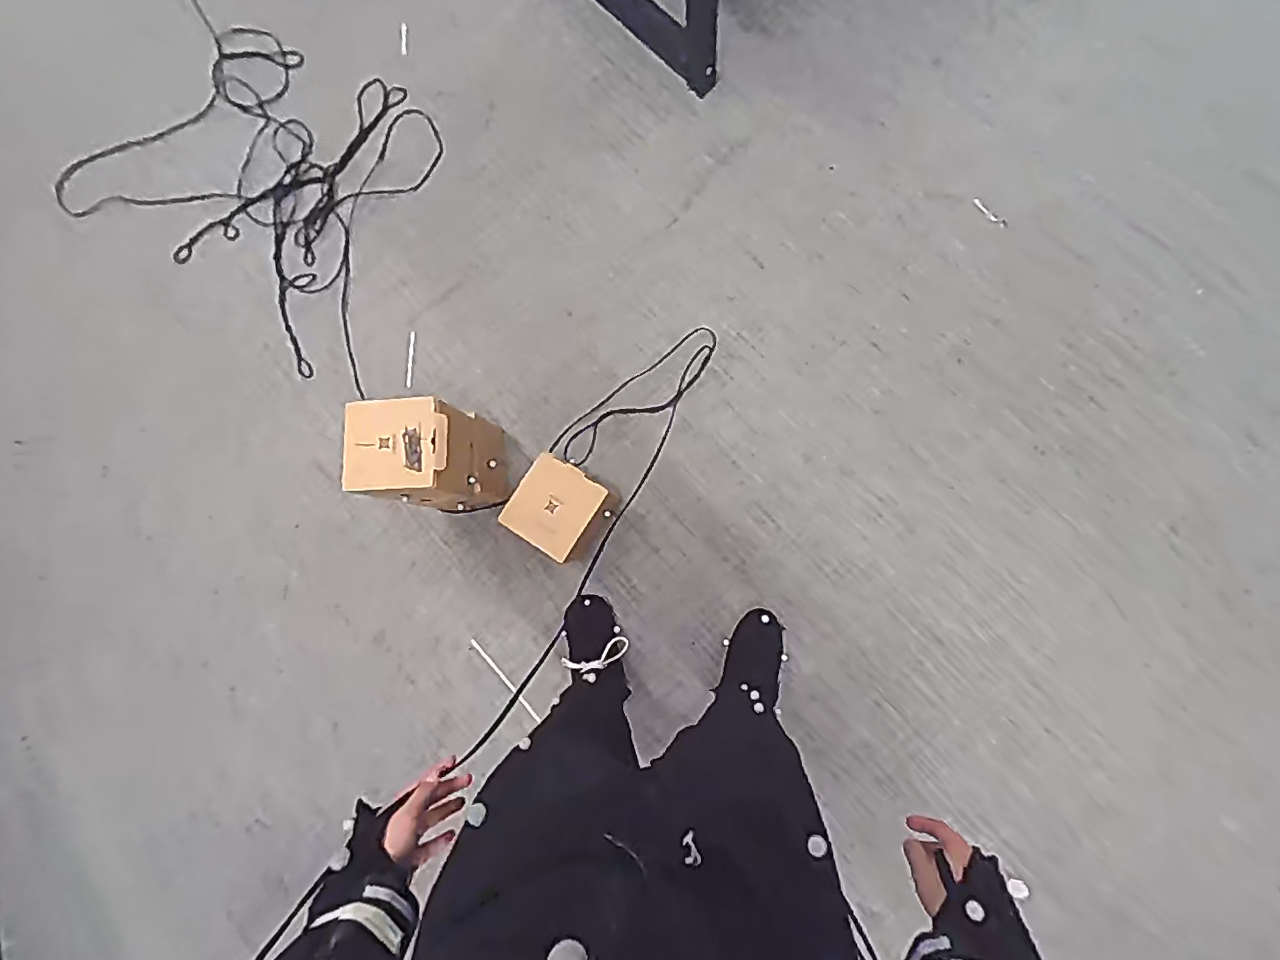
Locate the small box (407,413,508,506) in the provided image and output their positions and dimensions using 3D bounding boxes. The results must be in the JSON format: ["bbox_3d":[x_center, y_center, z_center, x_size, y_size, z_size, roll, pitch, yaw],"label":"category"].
[{"bbox_3d":[-0.401,-0.037,1.198,0.168,0.176,0.179,-8,82,5],"label":"small box"}]

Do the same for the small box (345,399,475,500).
[{"bbox_3d":[-0.430,-0.052,1.036,0.179,0.176,0.168,-2,82,7],"label":"small box"}]

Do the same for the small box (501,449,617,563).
[{"bbox_3d":[-0.164,0.060,1.164,0.168,0.176,0.179,32,87,9],"label":"small box"}]
